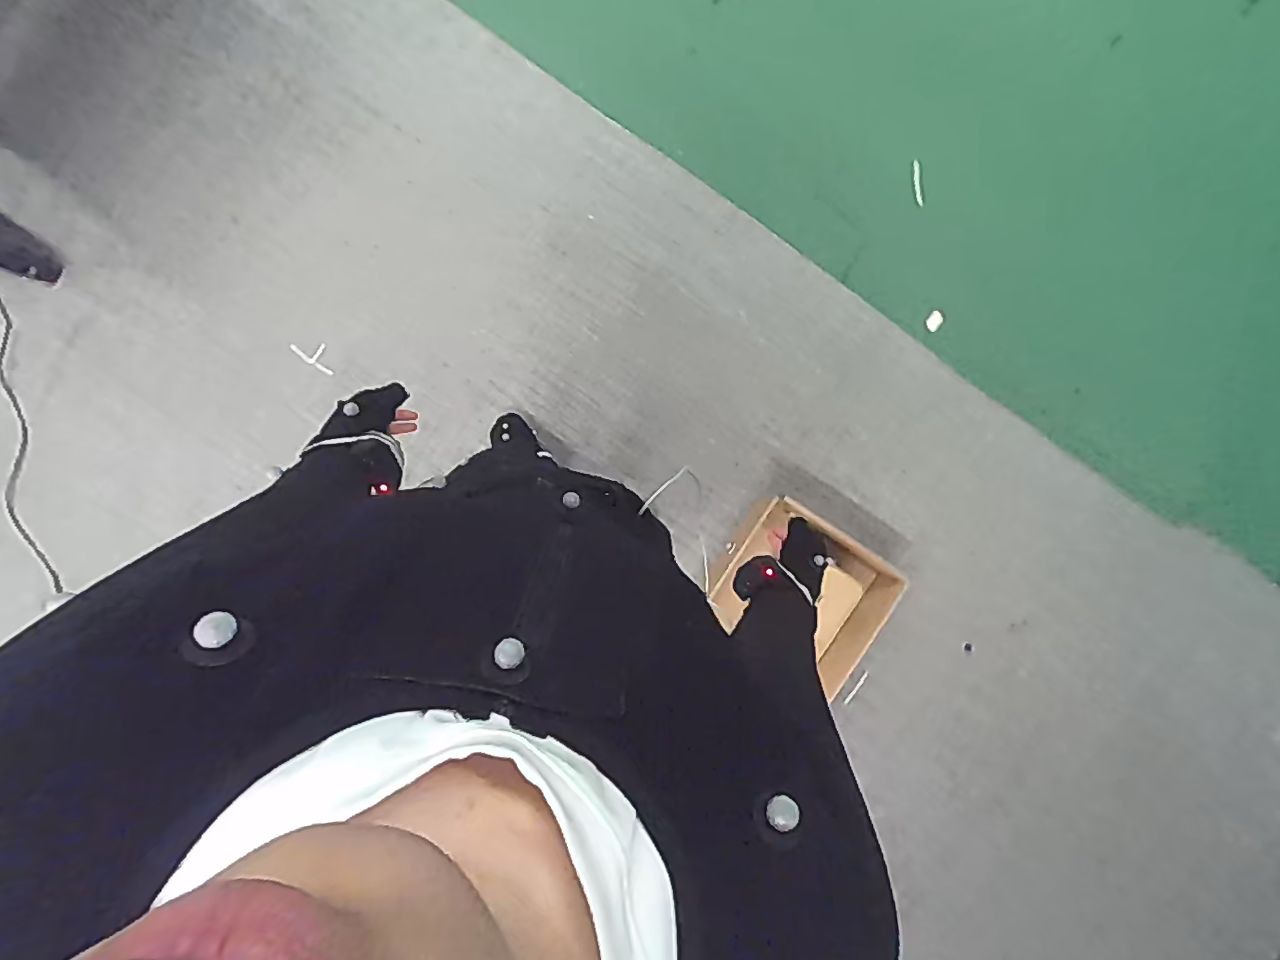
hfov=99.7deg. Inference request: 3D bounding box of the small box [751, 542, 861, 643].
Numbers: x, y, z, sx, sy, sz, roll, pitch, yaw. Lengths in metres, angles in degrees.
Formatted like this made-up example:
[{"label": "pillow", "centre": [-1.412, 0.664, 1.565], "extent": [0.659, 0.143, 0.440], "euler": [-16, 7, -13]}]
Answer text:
[{"label": "small box", "centre": [0.411, 0.274, 1.367], "extent": [0.179, 0.176, 0.168], "euler": [35, 91, -3]}]
